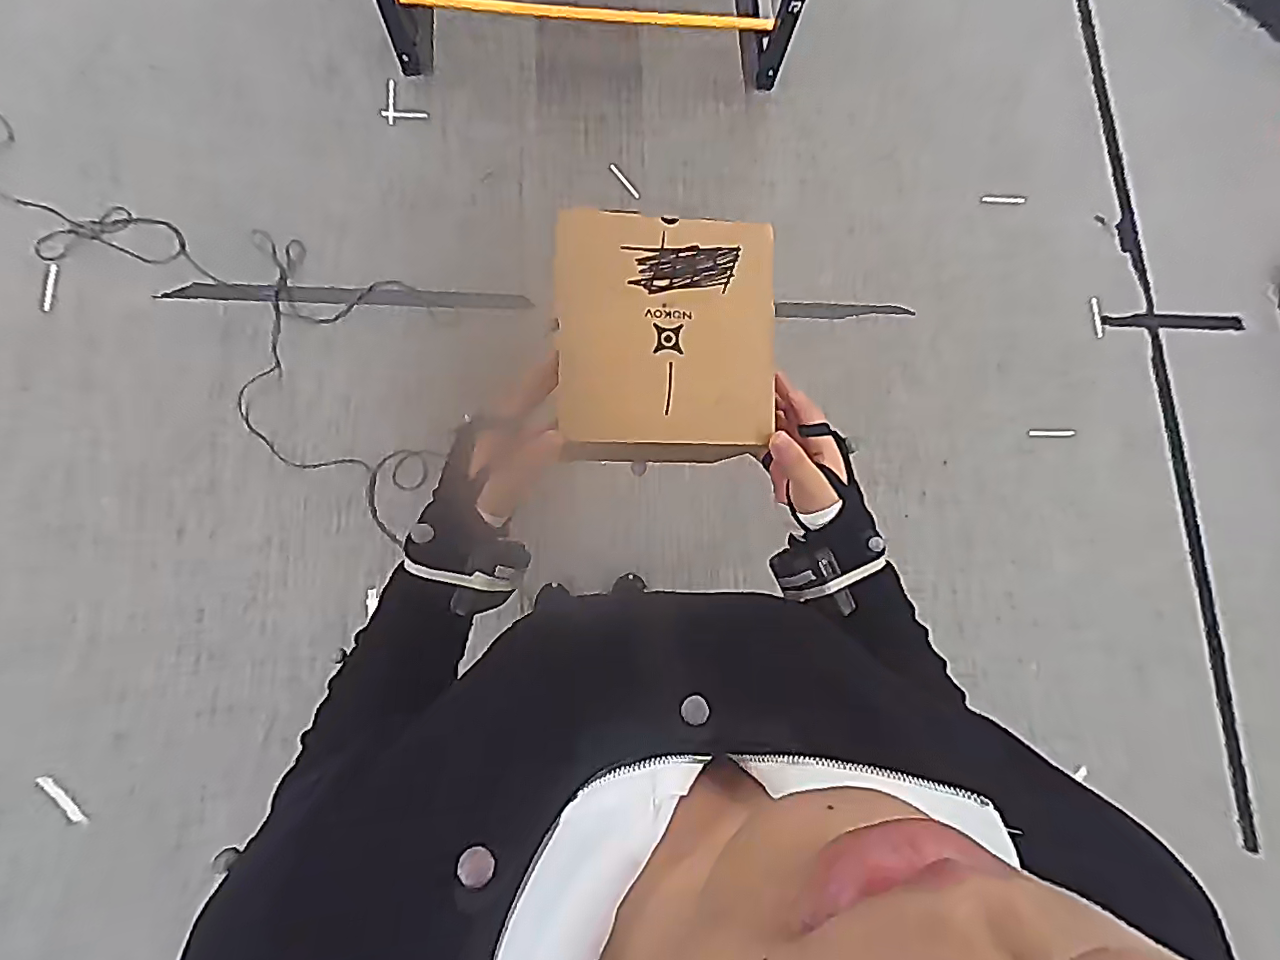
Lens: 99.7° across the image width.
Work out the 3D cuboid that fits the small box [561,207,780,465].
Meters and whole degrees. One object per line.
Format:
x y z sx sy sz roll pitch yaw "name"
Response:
0.014 -0.109 0.482 0.168 0.176 0.179 0 87 -8 "small box"
